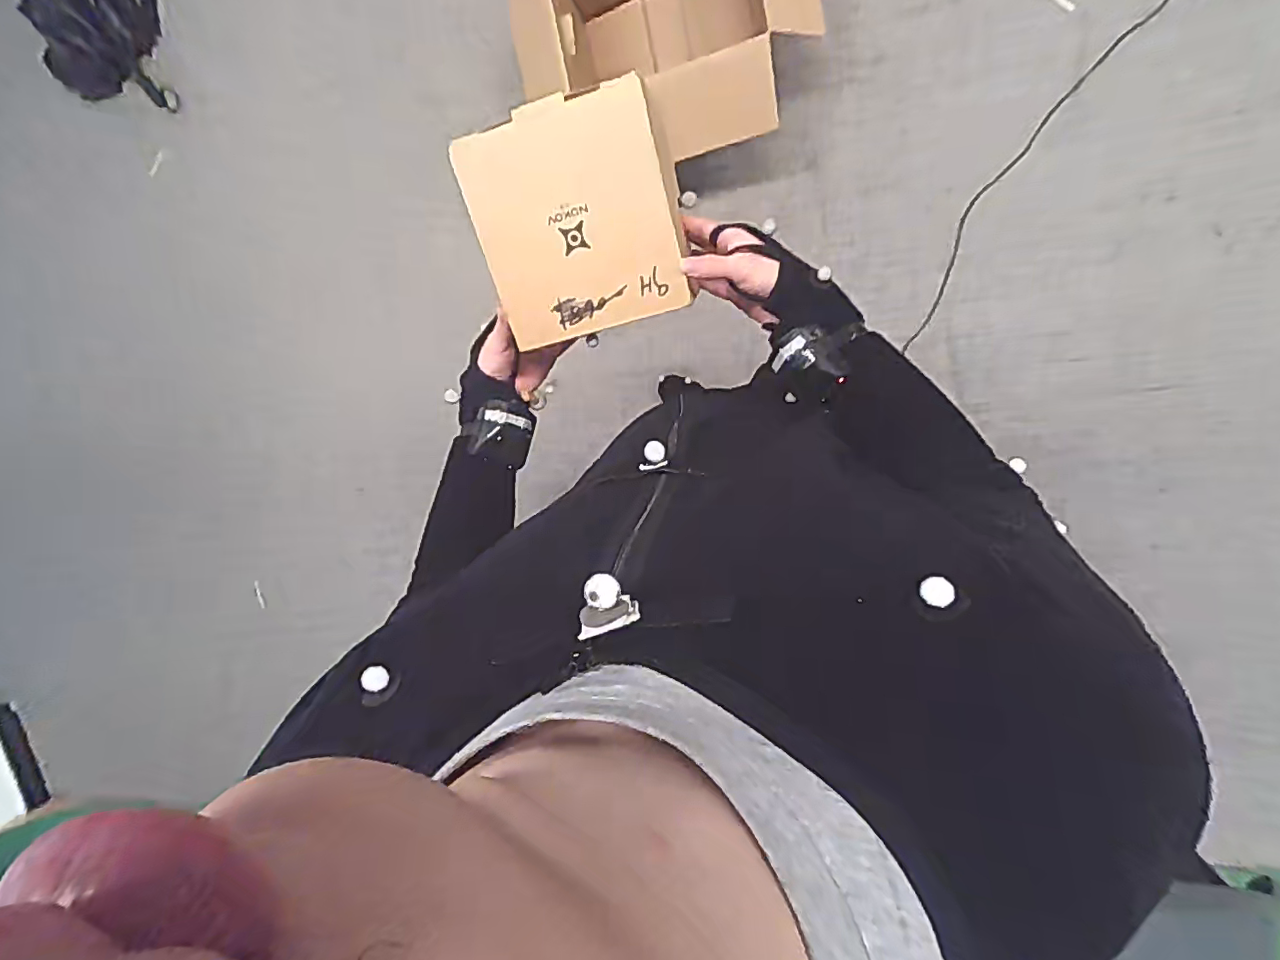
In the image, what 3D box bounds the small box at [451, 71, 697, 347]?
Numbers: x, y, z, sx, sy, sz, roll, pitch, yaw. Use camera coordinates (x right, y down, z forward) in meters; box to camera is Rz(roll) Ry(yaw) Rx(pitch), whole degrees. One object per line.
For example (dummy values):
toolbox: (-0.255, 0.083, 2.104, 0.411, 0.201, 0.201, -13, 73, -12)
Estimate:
small box: (-0.044, -0.245, 0.521, 0.168, 0.176, 0.179, -11, 112, 14)
